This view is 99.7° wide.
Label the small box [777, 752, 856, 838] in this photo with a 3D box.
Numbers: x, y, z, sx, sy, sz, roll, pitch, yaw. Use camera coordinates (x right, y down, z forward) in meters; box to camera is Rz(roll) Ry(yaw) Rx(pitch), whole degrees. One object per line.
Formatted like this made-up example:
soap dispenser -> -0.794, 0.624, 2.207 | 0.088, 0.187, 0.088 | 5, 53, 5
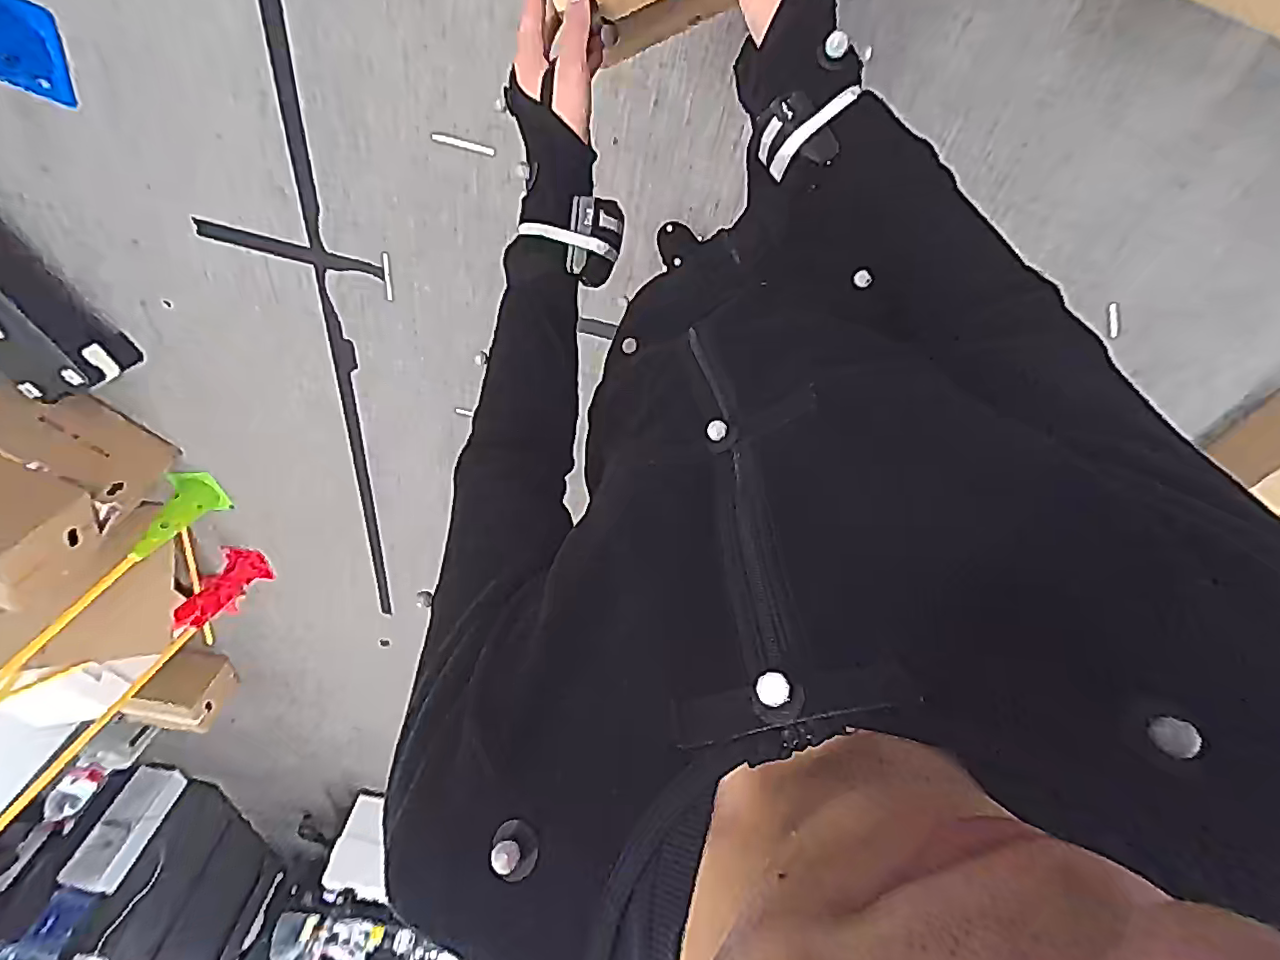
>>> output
small box -> 0.513, 0.929, 1.602 | 0.168, 0.176, 0.179 | 9, 131, 0
